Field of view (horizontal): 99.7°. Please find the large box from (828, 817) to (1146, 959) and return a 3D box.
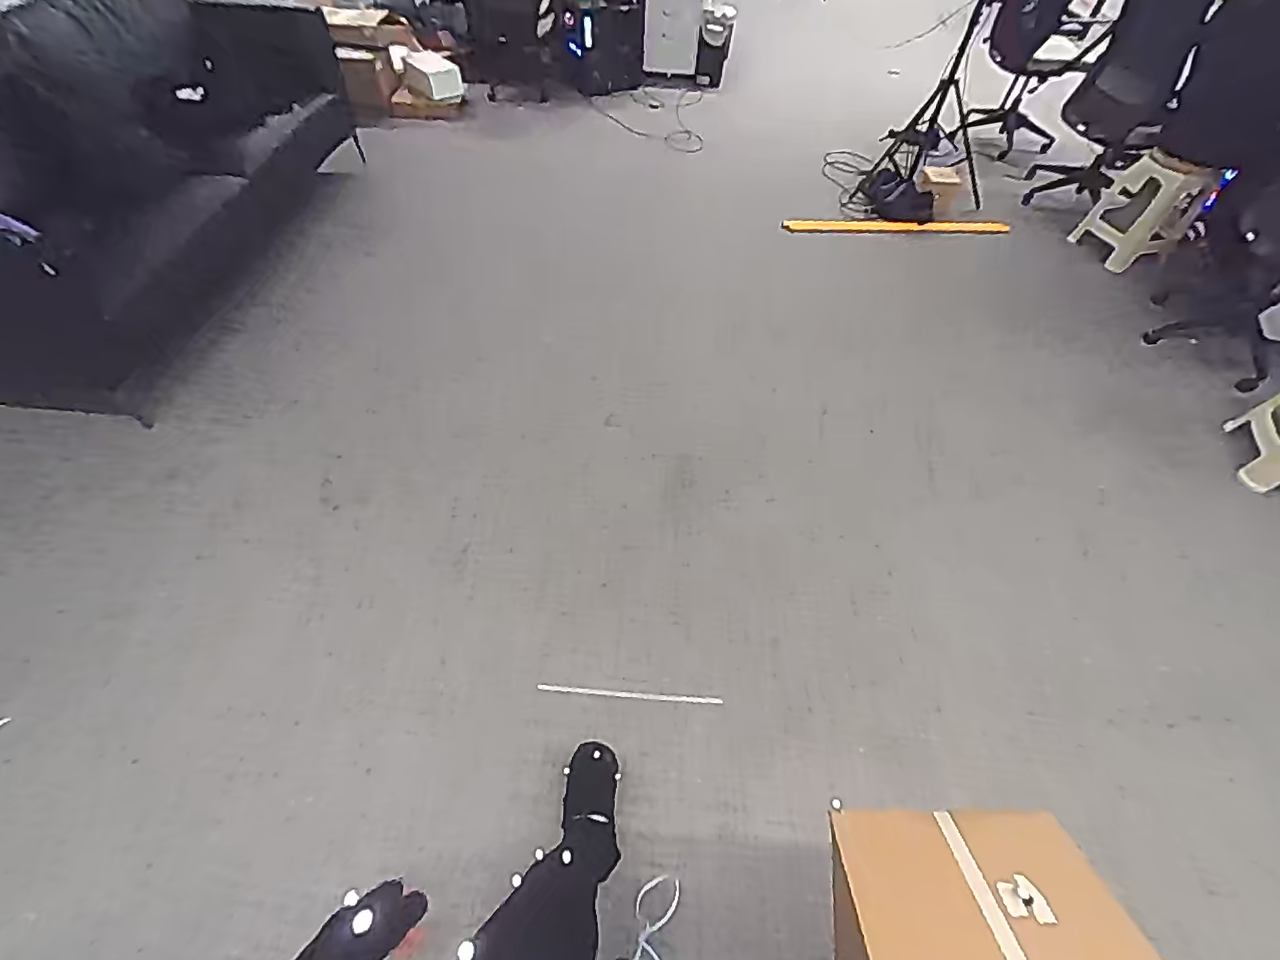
[{"bbox_3d":[0.437,0.700,0.650,0.320,0.320,0.408,-4,13,7],"label":"large box"}]
